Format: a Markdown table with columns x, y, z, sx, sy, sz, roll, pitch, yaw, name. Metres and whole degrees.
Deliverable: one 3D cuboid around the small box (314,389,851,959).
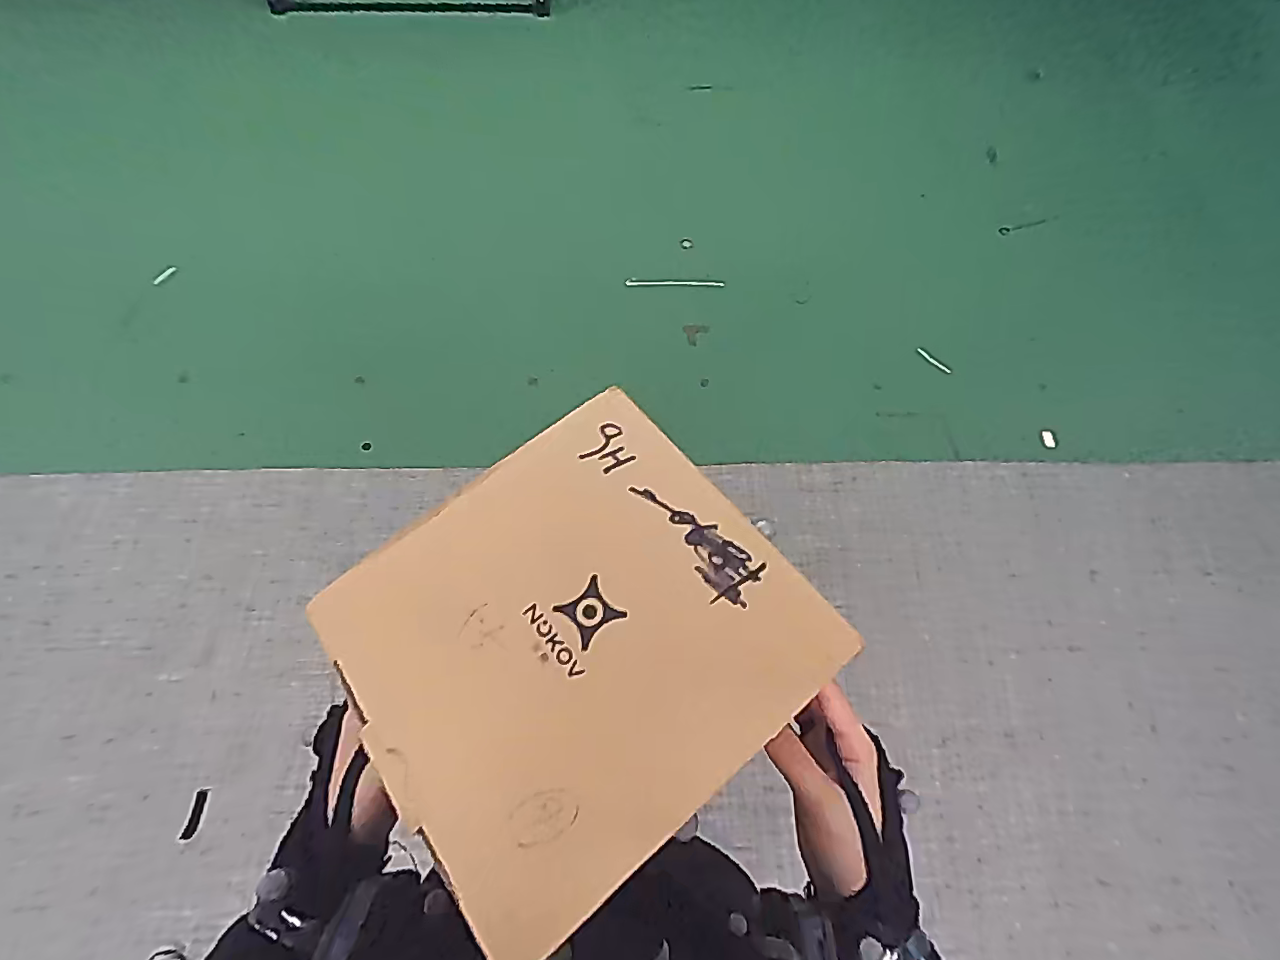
| x | y | z | sx | sy | sz | roll | pitch | yaw | name |
| --- | --- | --- | --- | --- | --- | --- | --- | --- | --- |
| -0.023 | 0.092 | 0.298 | 0.179 | 0.176 | 0.168 | -38 | 68 | -12 | small box |
